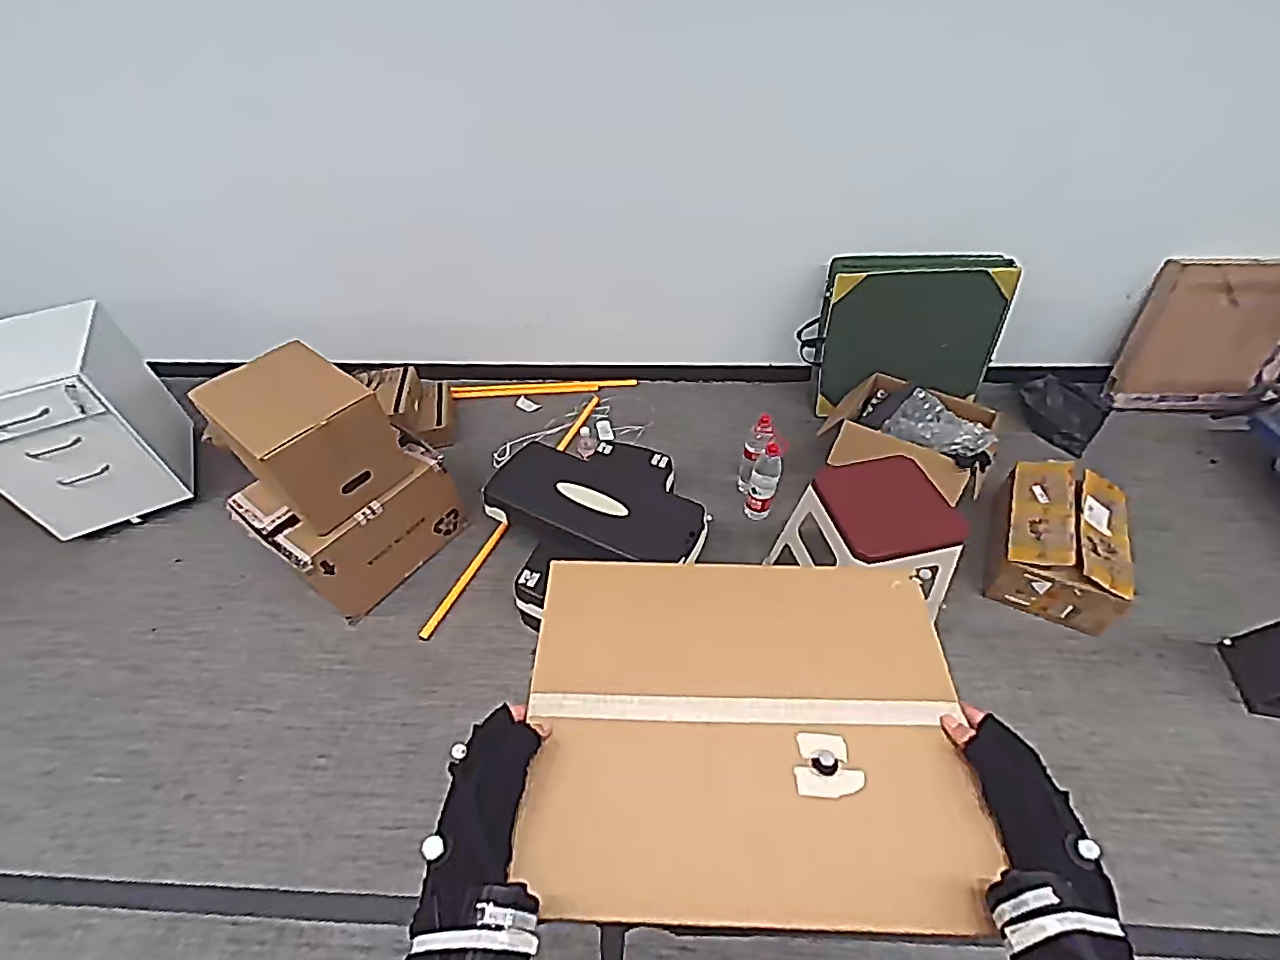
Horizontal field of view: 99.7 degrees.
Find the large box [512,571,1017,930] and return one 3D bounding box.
[{"bbox_3d":[0.098,0.317,0.627,0.408,0.320,0.320,1,51,1],"label":"large box"}]
